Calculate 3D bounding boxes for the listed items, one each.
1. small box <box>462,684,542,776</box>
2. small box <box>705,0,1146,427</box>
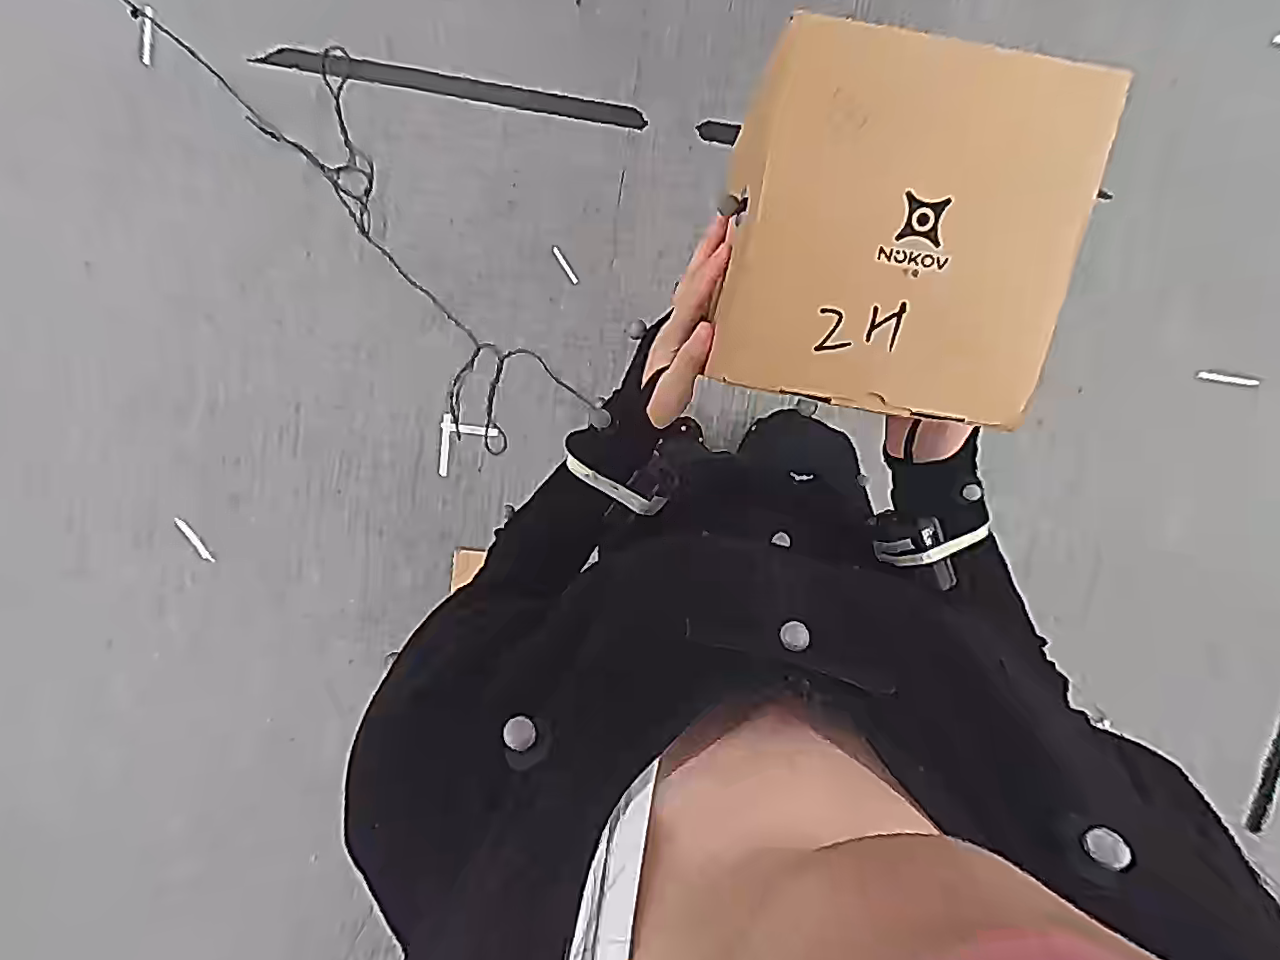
[{"bbox_3d":[-0.374,0.677,1.481,0.179,0.176,0.168,2,98,1],"label":"small box"},{"bbox_3d":[0.141,-0.142,0.344,0.168,0.176,0.179,10,103,-1],"label":"small box"}]
